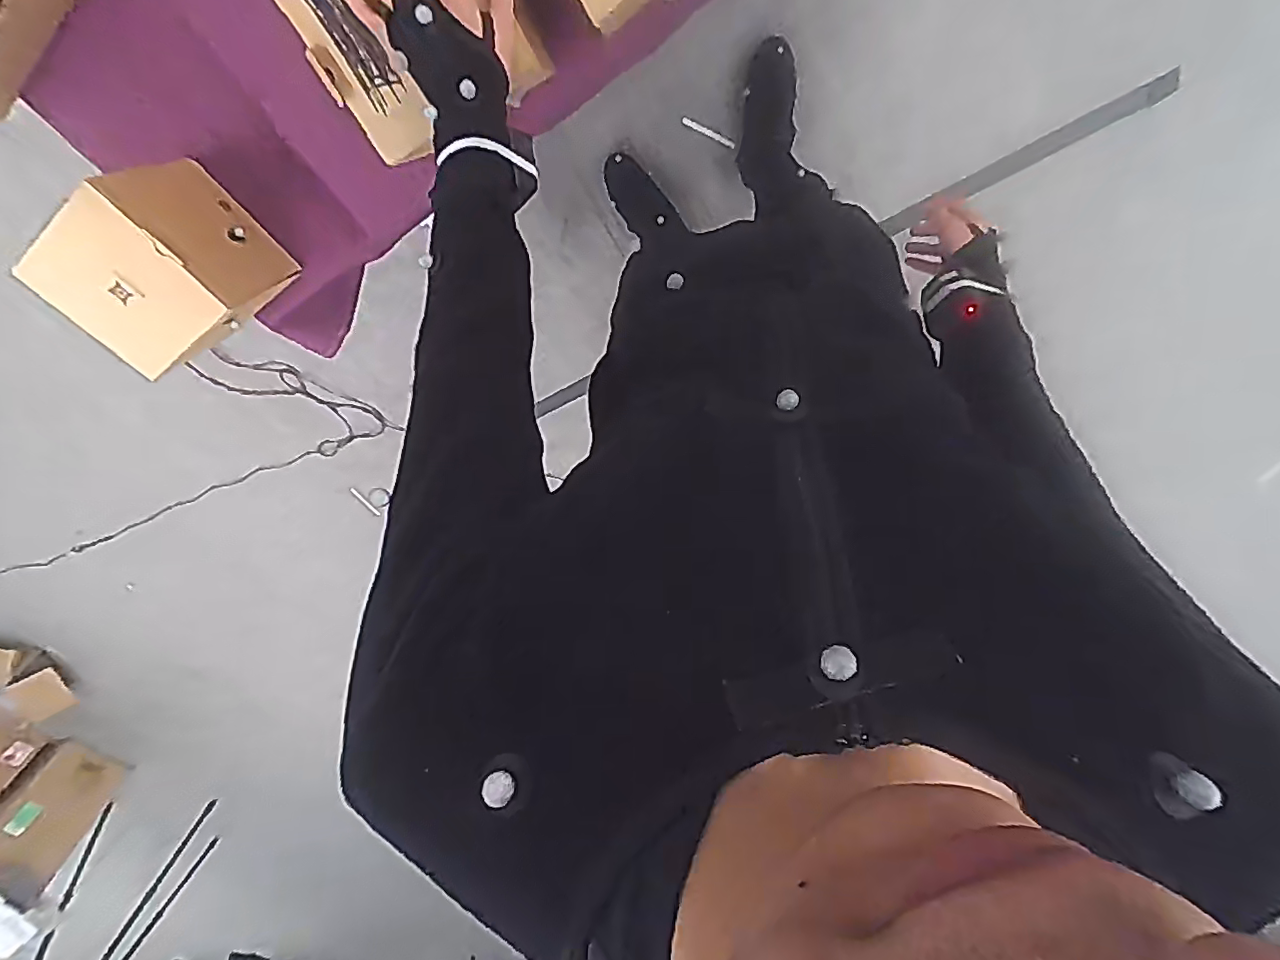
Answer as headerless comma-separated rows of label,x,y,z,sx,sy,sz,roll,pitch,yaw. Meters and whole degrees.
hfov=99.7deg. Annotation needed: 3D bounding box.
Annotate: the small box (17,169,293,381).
small box,-0.596,-0.264,0.692,0.179,0.176,0.168,-29,121,19
